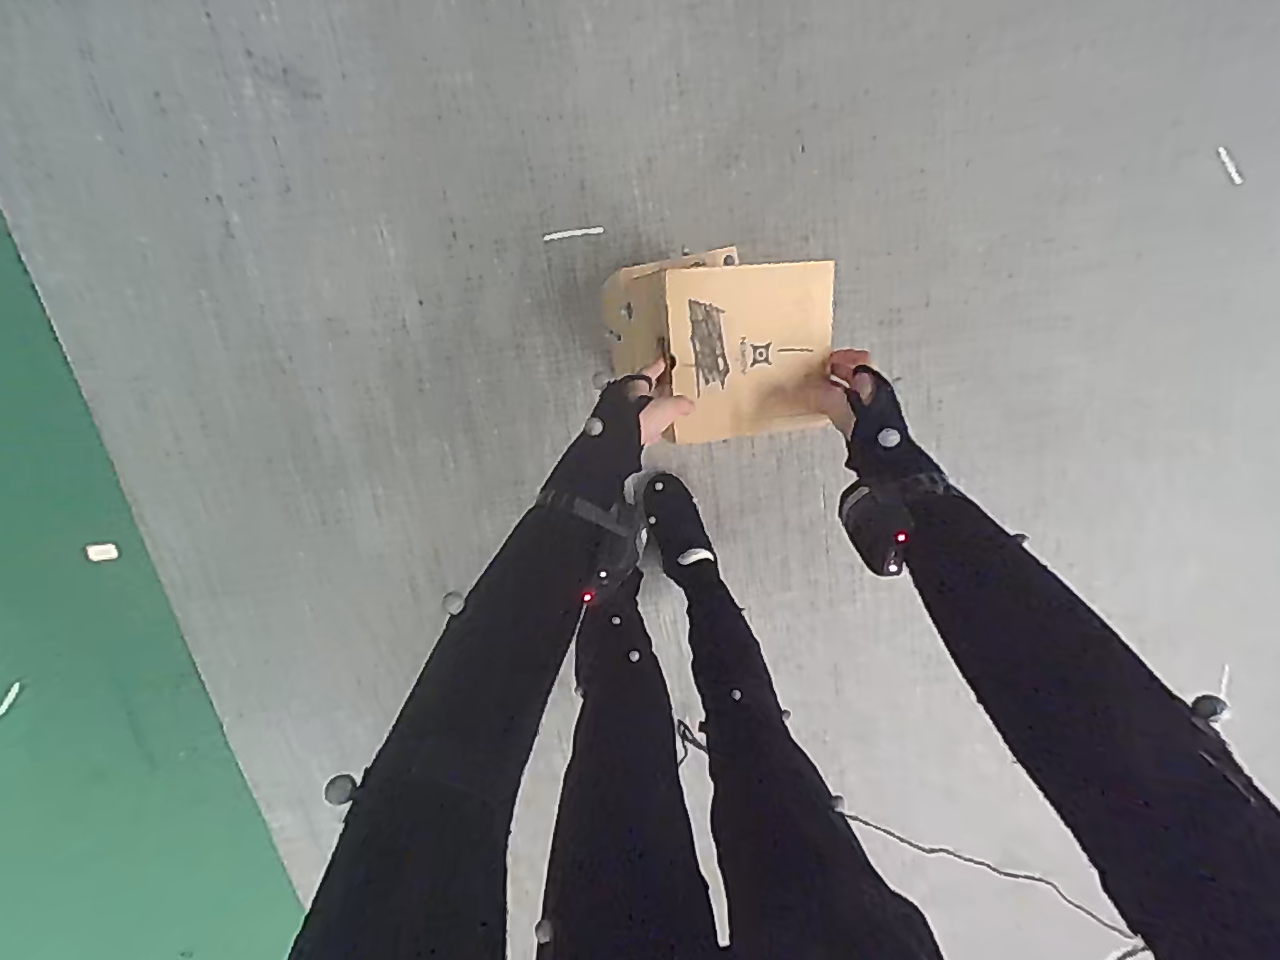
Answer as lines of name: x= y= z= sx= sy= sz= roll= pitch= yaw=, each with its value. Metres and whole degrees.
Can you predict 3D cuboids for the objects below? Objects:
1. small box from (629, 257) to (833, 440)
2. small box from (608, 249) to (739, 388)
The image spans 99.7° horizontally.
small box: x=0.088 y=-0.147 z=0.599 sx=0.179 sy=0.176 sz=0.168 roll=-8 pitch=107 yaw=-13
small box: x=0.053 y=-0.230 z=0.809 sx=0.168 sy=0.176 sz=0.179 roll=-13 pitch=106 yaw=-6
